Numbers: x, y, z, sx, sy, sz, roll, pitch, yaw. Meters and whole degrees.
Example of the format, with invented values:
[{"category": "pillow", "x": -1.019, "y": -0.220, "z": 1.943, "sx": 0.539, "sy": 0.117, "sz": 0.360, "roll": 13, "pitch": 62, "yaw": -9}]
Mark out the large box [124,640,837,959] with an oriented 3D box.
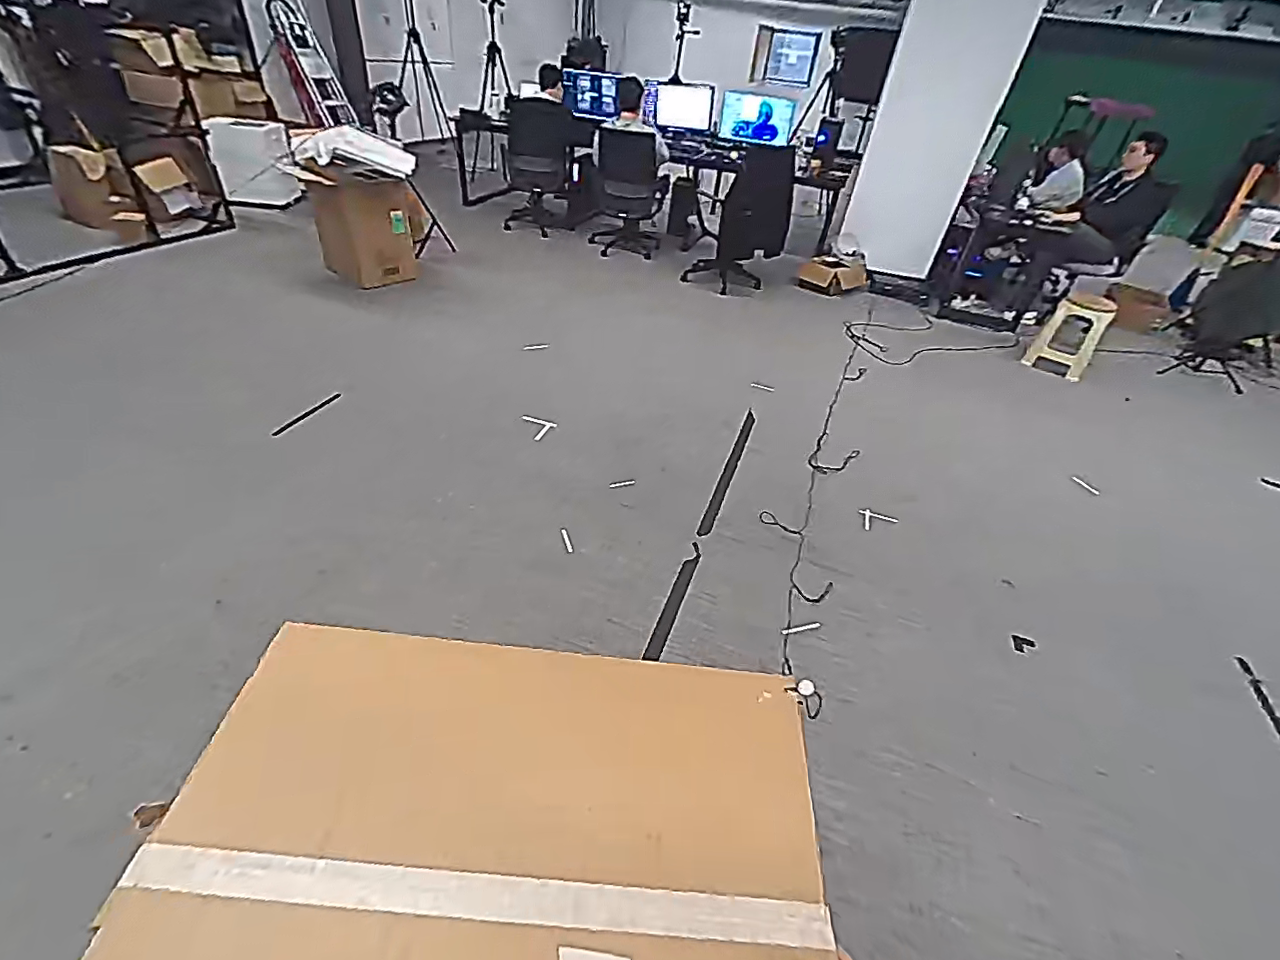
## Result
[{"category": "large box", "x": -0.095, "y": 0.358, "z": 0.429, "sx": 0.408, "sy": 0.320, "sz": 0.320, "roll": 7, "pitch": 46, "yaw": -2}]
